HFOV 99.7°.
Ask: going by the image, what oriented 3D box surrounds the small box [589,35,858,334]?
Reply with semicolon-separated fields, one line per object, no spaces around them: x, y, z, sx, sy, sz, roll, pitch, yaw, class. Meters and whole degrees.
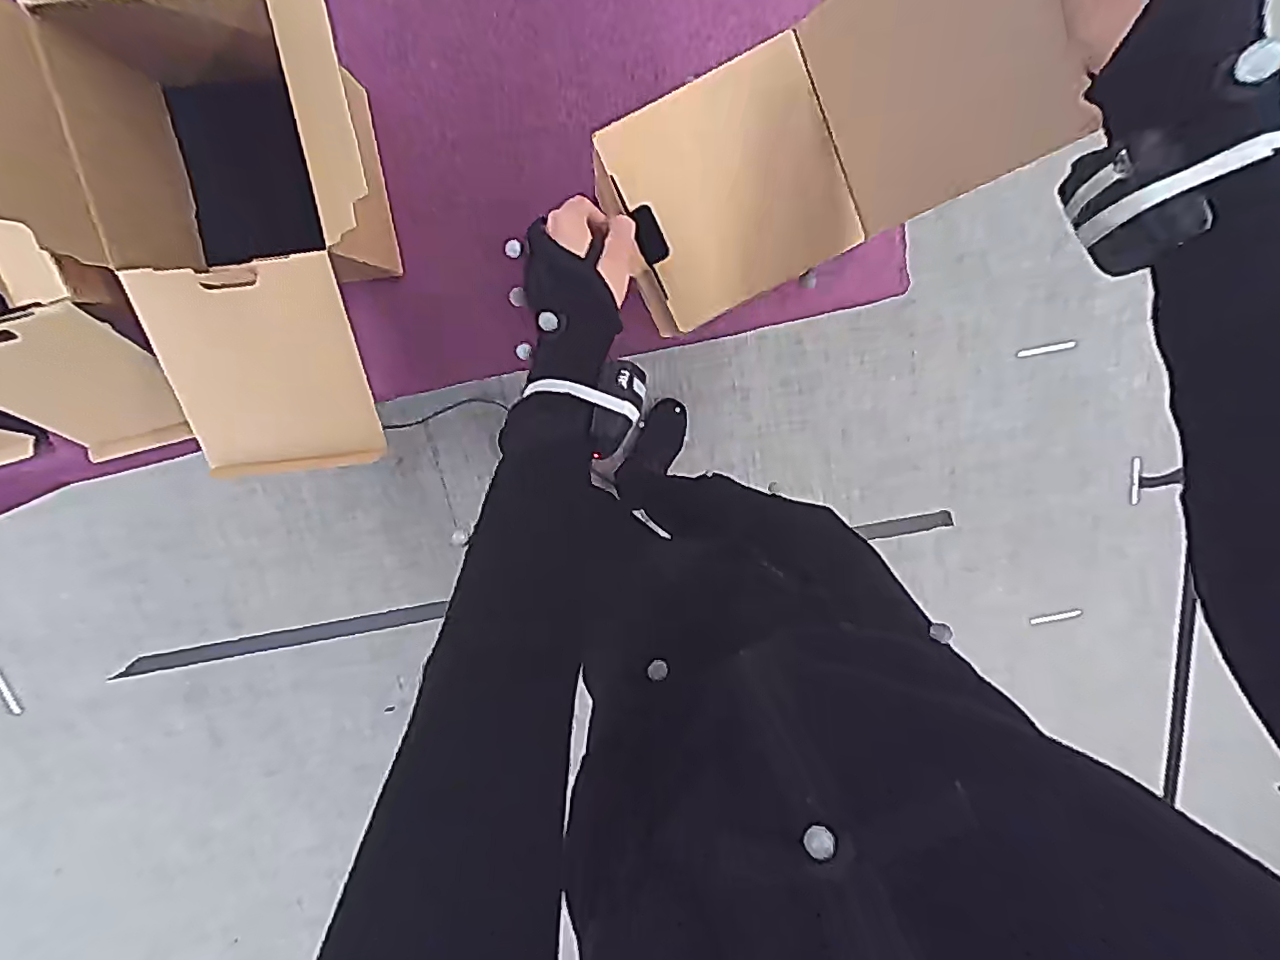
0.064;-0.248;0.504;0.179;0.176;0.168;-25;104;3;small box
